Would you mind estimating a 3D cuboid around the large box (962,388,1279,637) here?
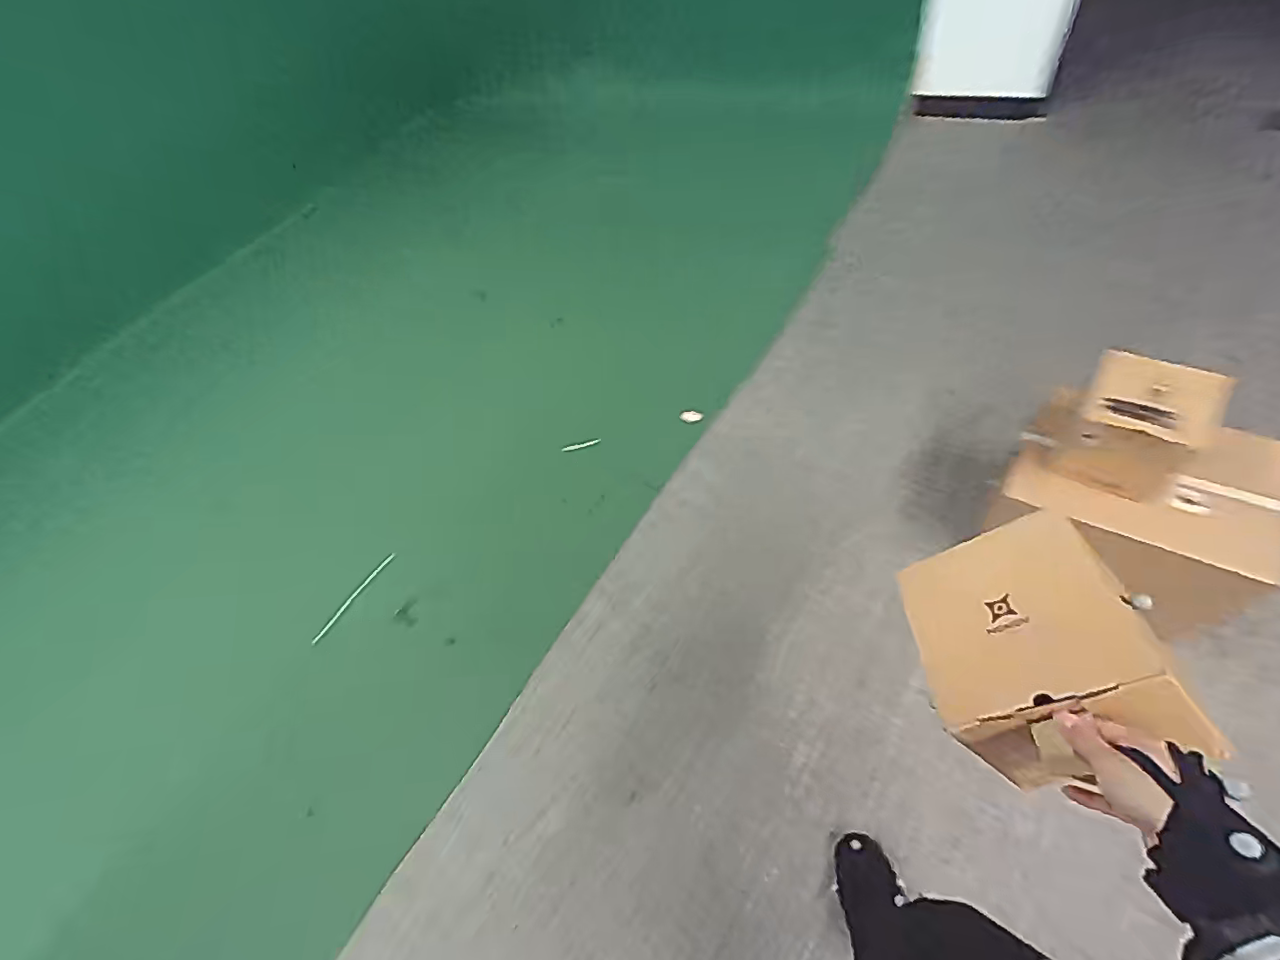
[{"bbox_3d":[0.973,0.065,1.137,0.408,0.320,0.320,24,67,26],"label":"large box"}]
